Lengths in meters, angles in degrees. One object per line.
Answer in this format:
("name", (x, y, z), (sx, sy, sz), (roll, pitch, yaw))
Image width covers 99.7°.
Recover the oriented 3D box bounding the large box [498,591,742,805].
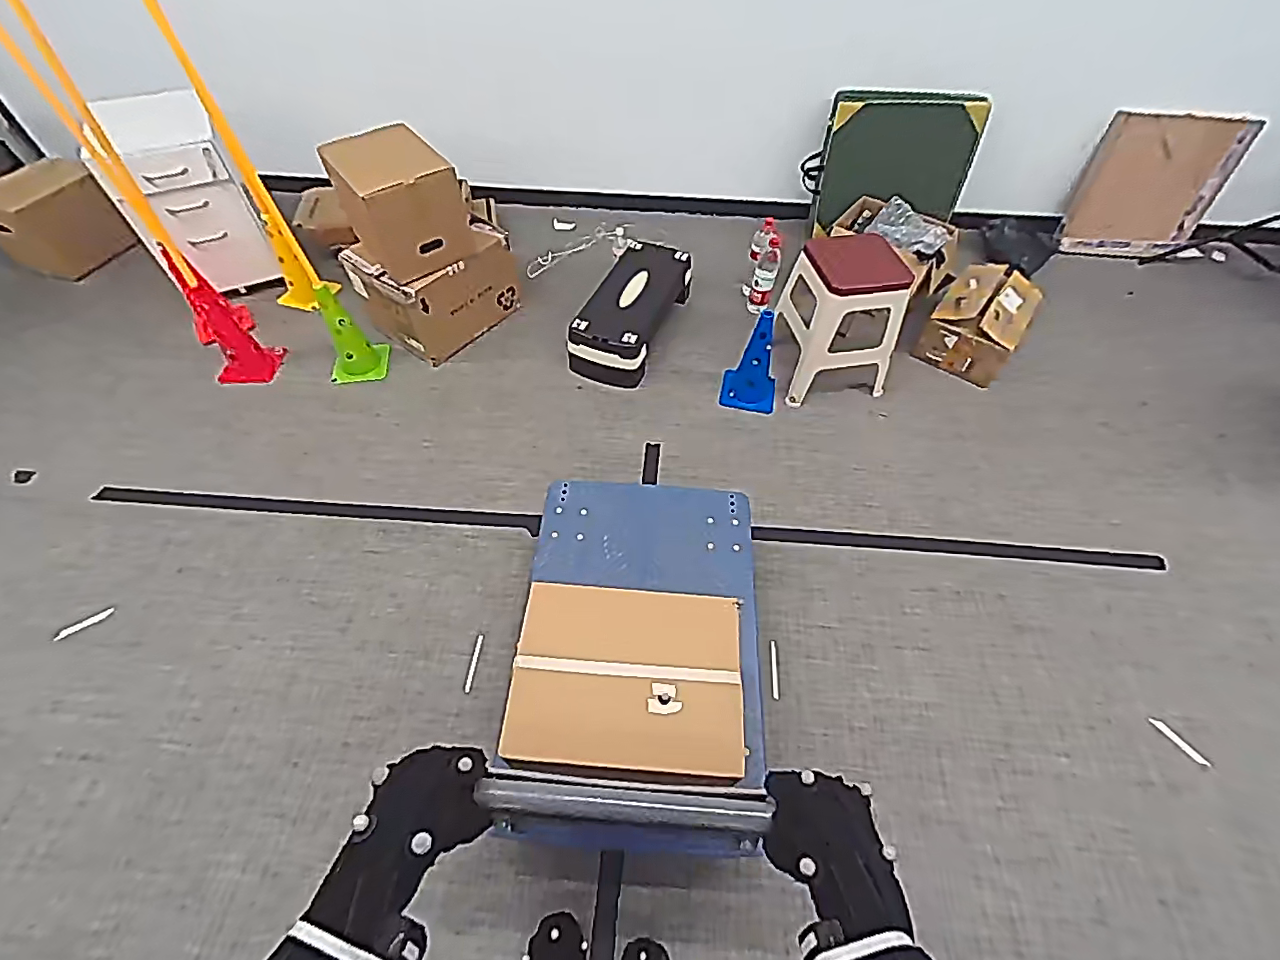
("large box", (-0.033, 0.440, 1.074), (0.408, 0.320, 0.320), (5, 54, 0))
